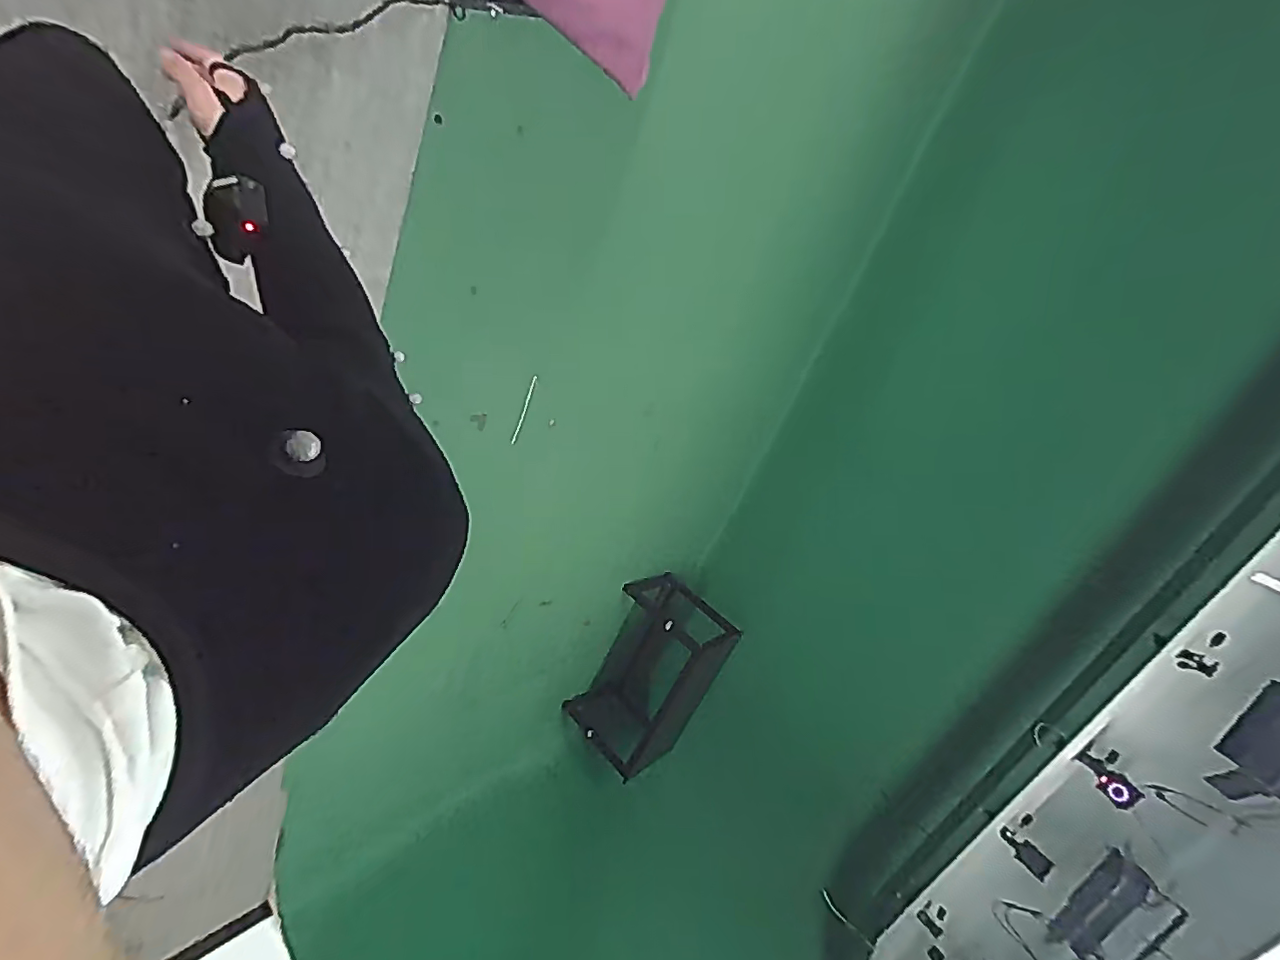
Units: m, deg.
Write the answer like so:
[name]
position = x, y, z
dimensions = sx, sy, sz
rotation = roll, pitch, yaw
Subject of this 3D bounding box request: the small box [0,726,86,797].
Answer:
[small box]
position = -1.737, 0.851, 1.555
dimensions = 0.179, 0.176, 0.168
rotation = -2, 124, -53
